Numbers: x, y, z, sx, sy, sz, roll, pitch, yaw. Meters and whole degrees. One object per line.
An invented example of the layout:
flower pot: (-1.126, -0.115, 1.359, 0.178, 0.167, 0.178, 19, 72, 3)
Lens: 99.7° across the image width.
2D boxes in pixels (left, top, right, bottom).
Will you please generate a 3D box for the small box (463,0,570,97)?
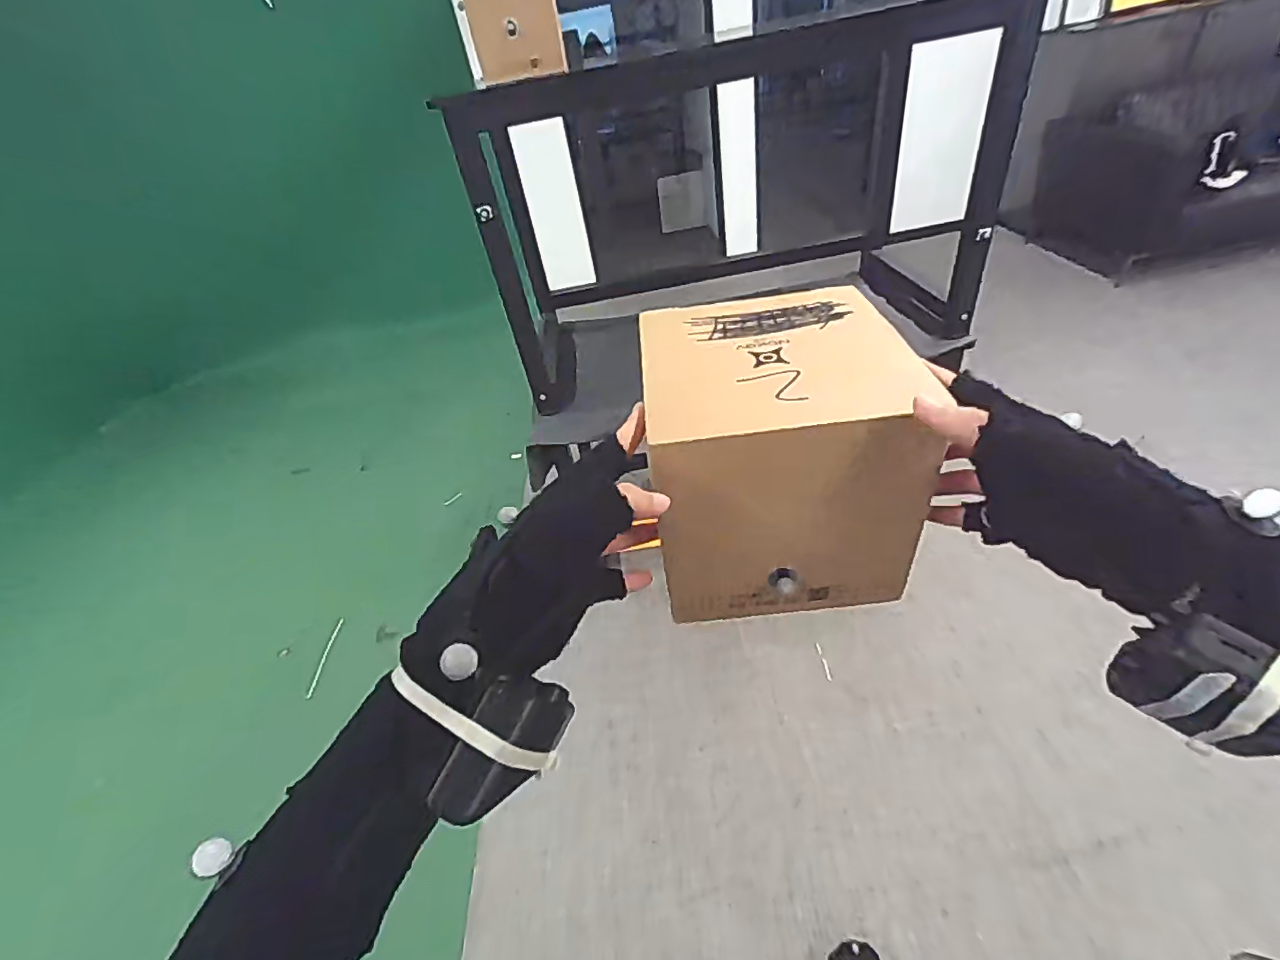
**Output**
small box: (-0.239, -0.886, 1.087, 0.168, 0.176, 0.179, -10, 38, 1)
